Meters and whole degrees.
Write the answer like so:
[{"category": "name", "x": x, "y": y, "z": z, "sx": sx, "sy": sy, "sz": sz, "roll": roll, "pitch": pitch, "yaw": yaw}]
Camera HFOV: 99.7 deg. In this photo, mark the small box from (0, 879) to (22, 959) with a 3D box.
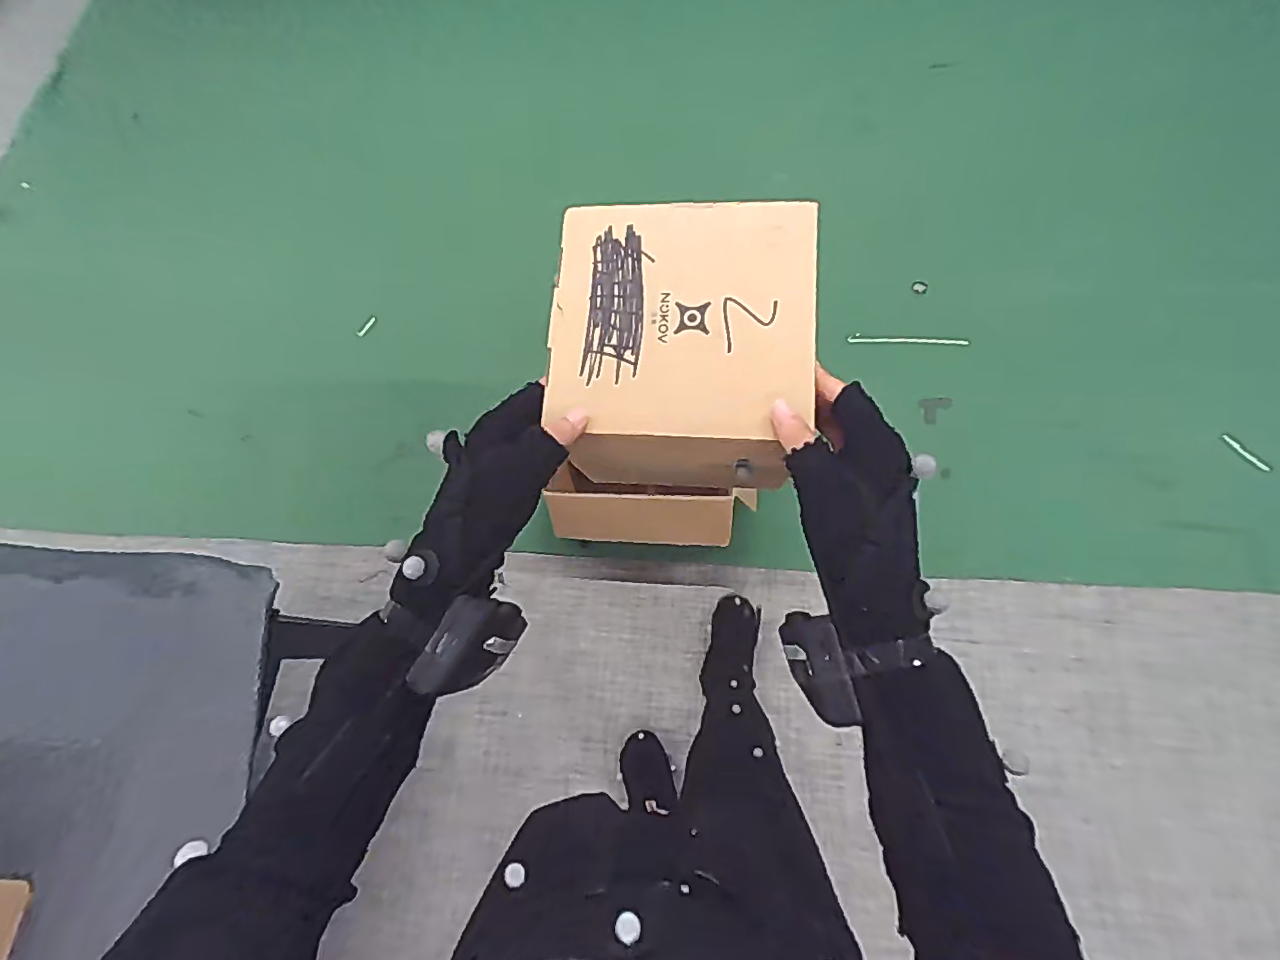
[{"category": "small box", "x": -0.777, "y": 0.509, "z": 0.517, "sx": 0.168, "sy": 0.176, "sz": 0.179, "roll": 1, "pitch": 72, "yaw": 7}]
